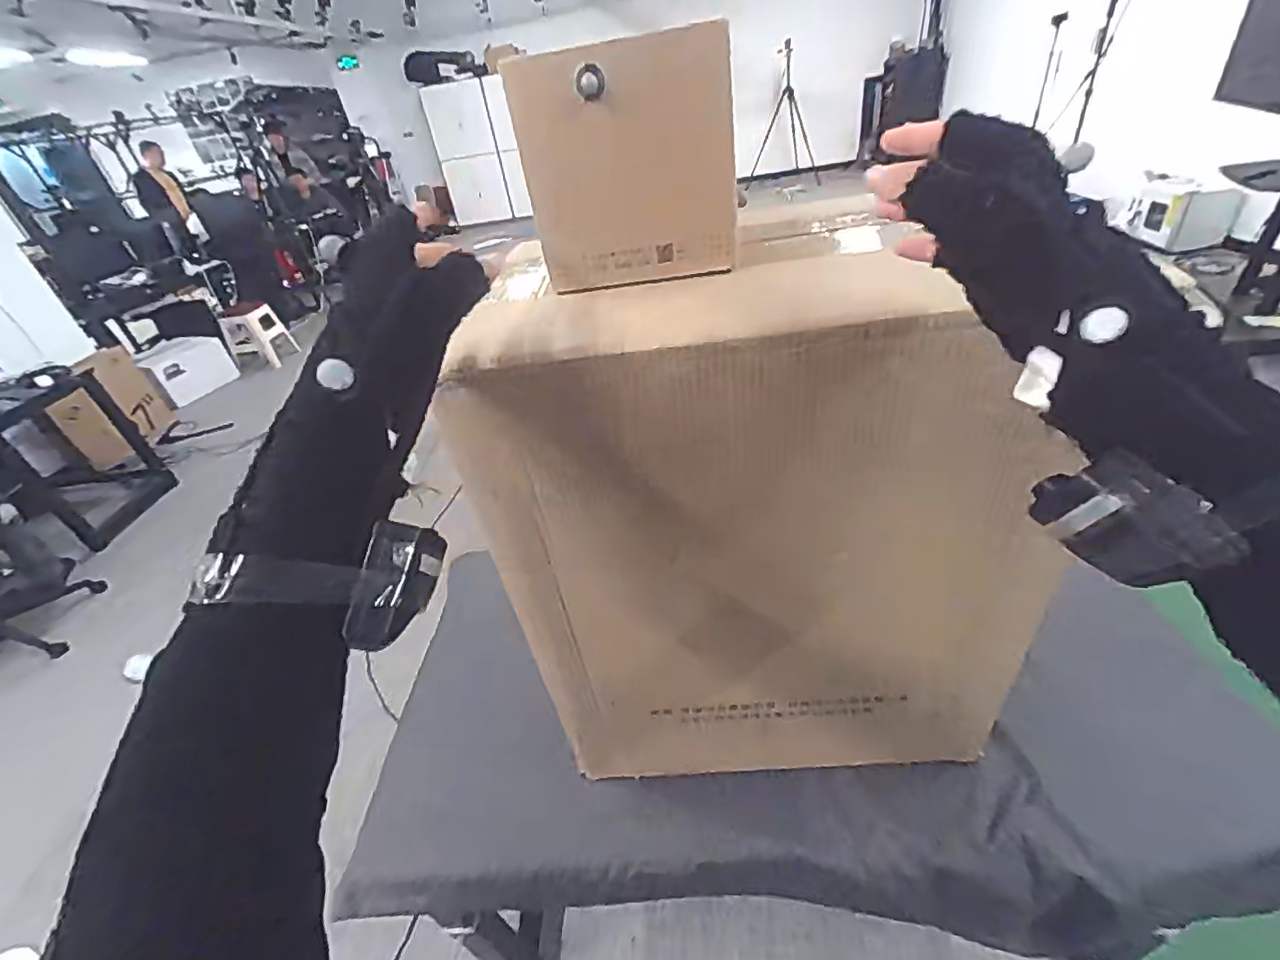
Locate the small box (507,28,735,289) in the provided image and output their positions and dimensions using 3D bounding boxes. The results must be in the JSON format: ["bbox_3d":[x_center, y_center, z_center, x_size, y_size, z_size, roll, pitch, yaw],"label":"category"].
[{"bbox_3d":[-0.003,-0.289,0.500,0.168,0.176,0.179,-5,35,7],"label":"small box"}]
